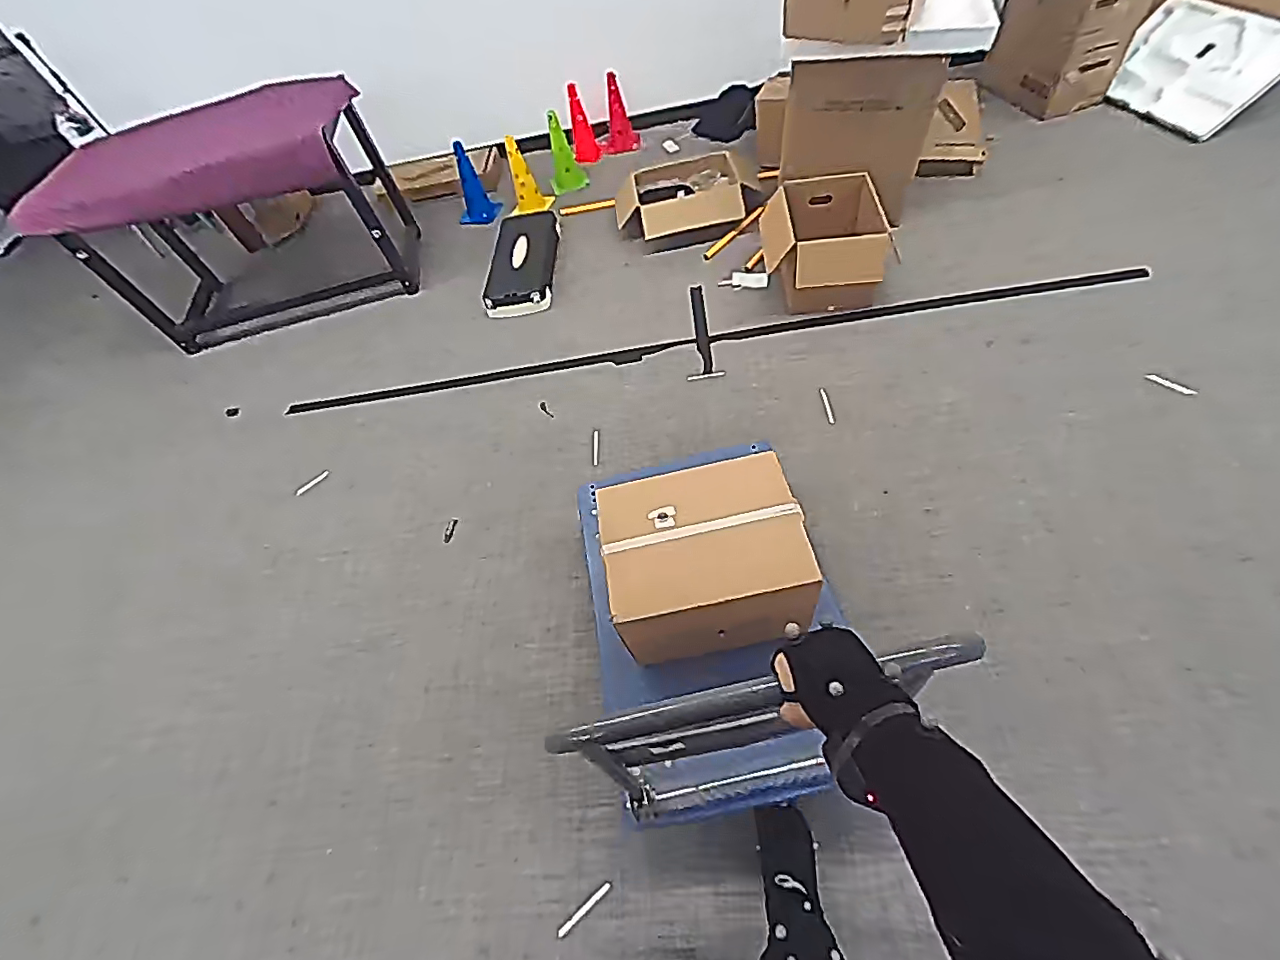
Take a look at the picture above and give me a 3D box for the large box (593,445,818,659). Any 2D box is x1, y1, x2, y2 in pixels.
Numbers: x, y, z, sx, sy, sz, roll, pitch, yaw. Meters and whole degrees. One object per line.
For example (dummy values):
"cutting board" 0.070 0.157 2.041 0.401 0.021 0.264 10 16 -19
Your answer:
"large box" 0.142 0.174 1.215 0.408 0.320 0.320 -14 54 3
